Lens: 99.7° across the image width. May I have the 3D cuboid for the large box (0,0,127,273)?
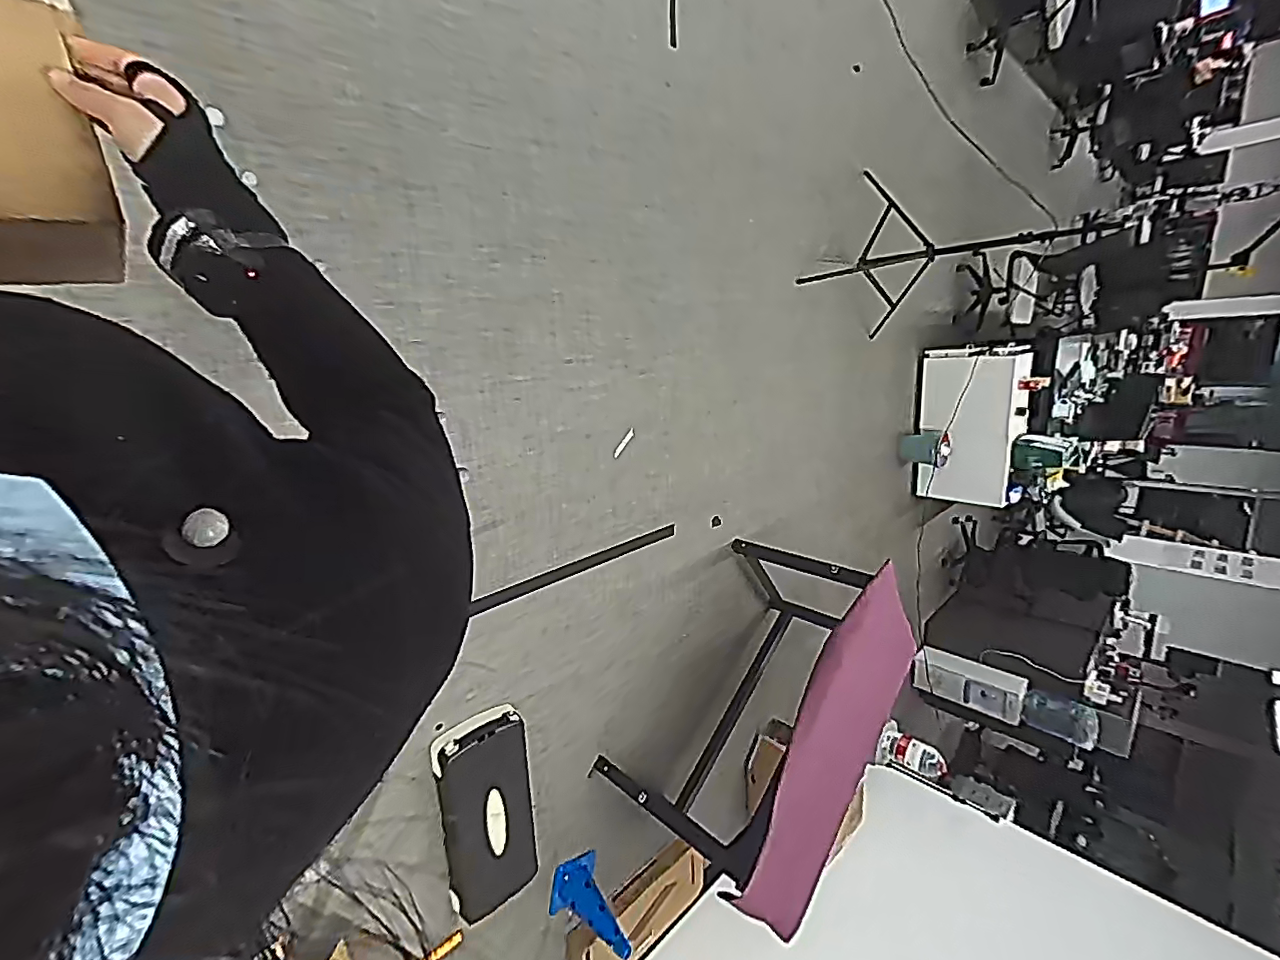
[{"bbox_3d":[-0.681,-0.327,0.381,0.408,0.320,0.320,-20,109,-40],"label":"large box"}]
